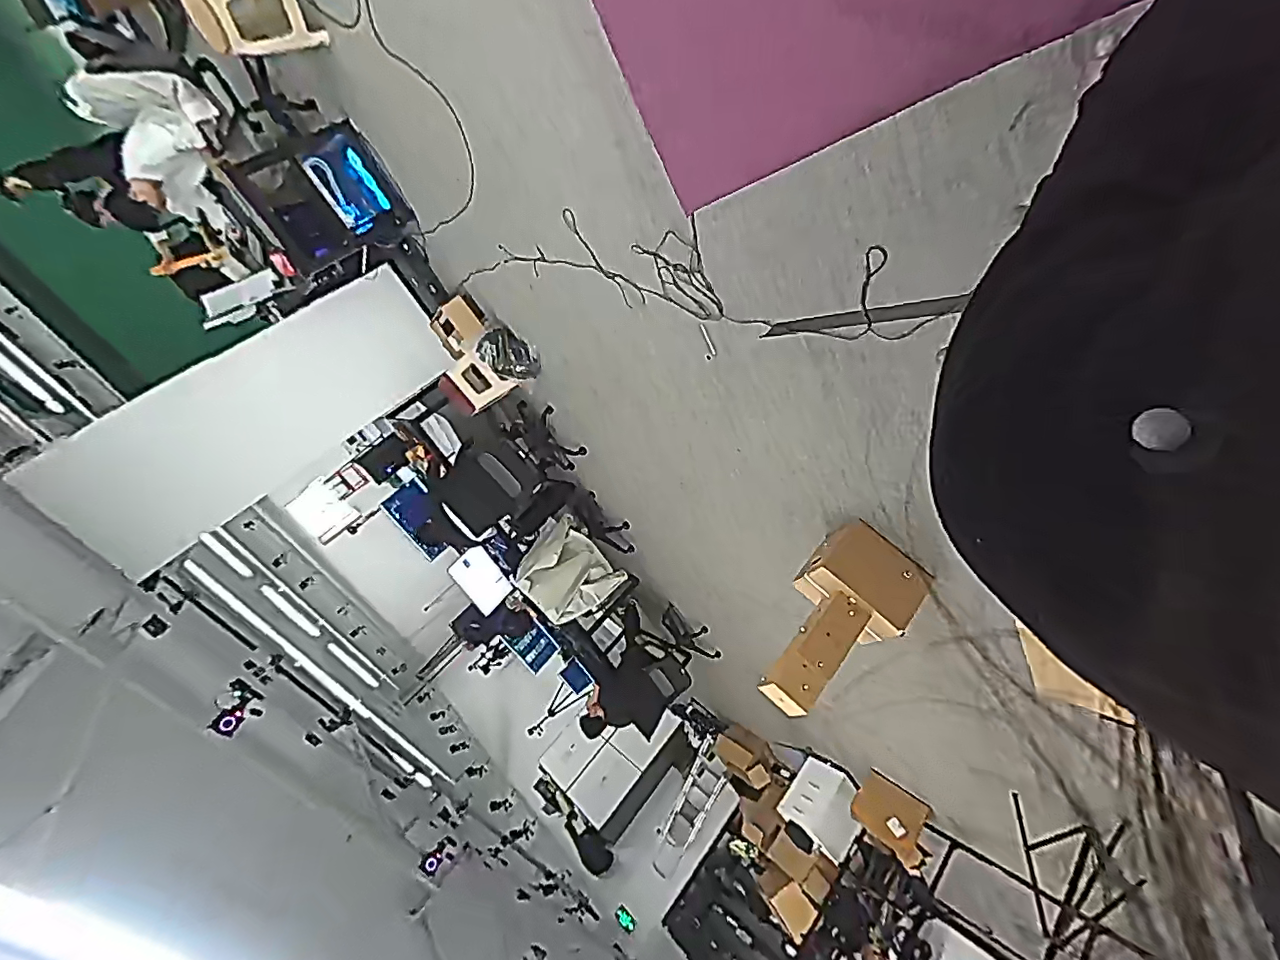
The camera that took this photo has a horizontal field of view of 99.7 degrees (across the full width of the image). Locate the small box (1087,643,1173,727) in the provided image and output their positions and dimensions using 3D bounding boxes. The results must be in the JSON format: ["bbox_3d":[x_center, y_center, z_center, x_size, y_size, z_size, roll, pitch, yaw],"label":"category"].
[{"bbox_3d":[1.647,0.681,1.815,0.179,0.176,0.168,54,152,-18],"label":"small box"}]

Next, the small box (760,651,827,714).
[{"bbox_3d":[0.608,0.795,2.127,0.168,0.176,0.179,41,156,11],"label":"small box"}]

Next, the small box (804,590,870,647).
[{"bbox_3d":[0.825,0.589,2.259,0.168,0.176,0.179,41,155,11],"label":"small box"}]

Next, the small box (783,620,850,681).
[{"bbox_3d":[0.717,0.695,2.195,0.168,0.176,0.179,41,156,11],"label":"small box"}]
